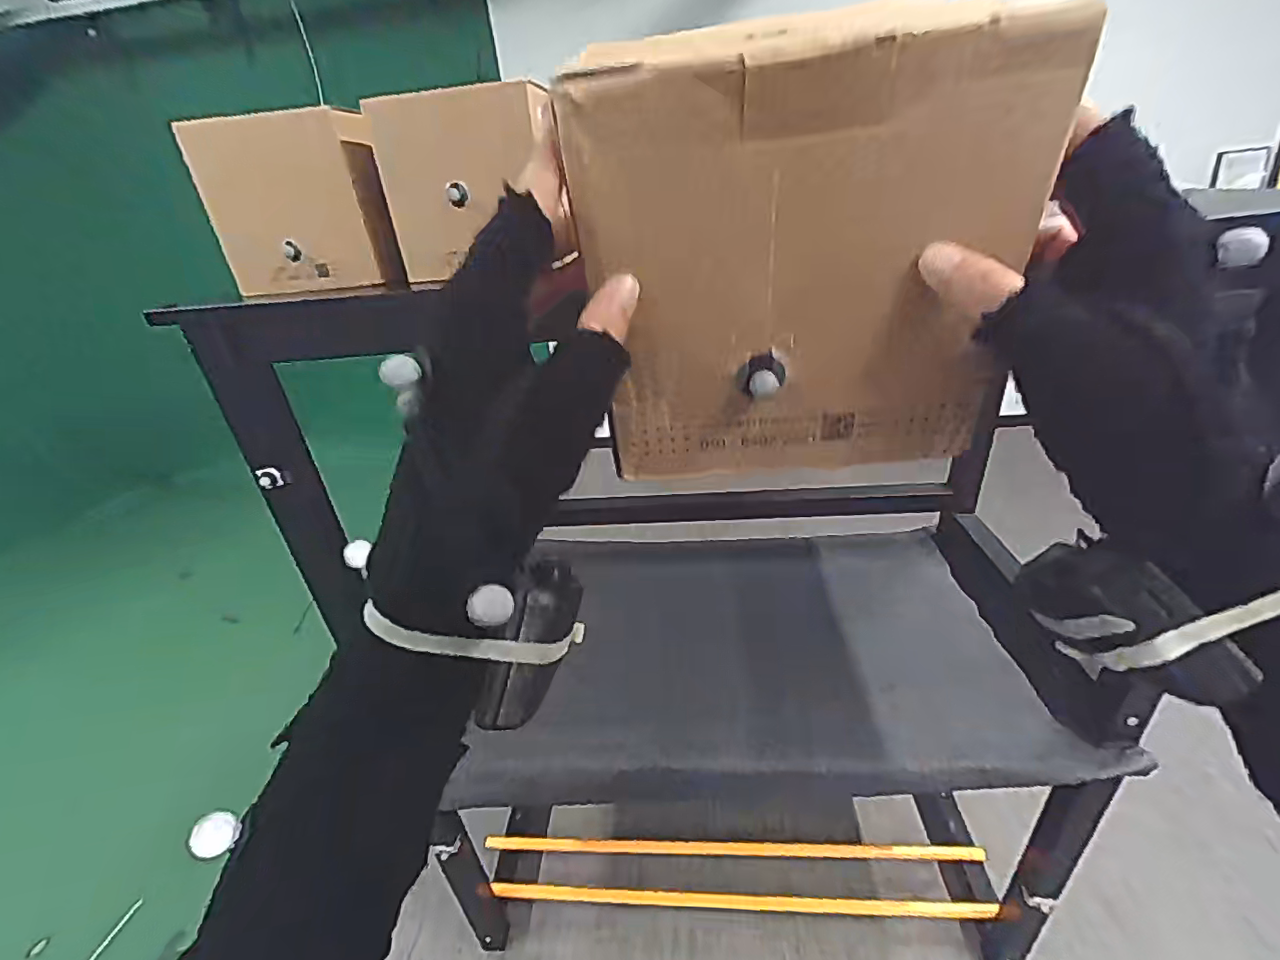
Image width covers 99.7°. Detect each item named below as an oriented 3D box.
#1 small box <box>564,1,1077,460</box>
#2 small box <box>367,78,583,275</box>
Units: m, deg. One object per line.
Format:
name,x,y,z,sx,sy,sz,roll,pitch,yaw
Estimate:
small box,0.064,-0.130,0.288,0.168,0.176,0.179,-5,40,5
small box,-0.167,-0.334,0.618,0.168,0.176,0.179,-2,29,7
